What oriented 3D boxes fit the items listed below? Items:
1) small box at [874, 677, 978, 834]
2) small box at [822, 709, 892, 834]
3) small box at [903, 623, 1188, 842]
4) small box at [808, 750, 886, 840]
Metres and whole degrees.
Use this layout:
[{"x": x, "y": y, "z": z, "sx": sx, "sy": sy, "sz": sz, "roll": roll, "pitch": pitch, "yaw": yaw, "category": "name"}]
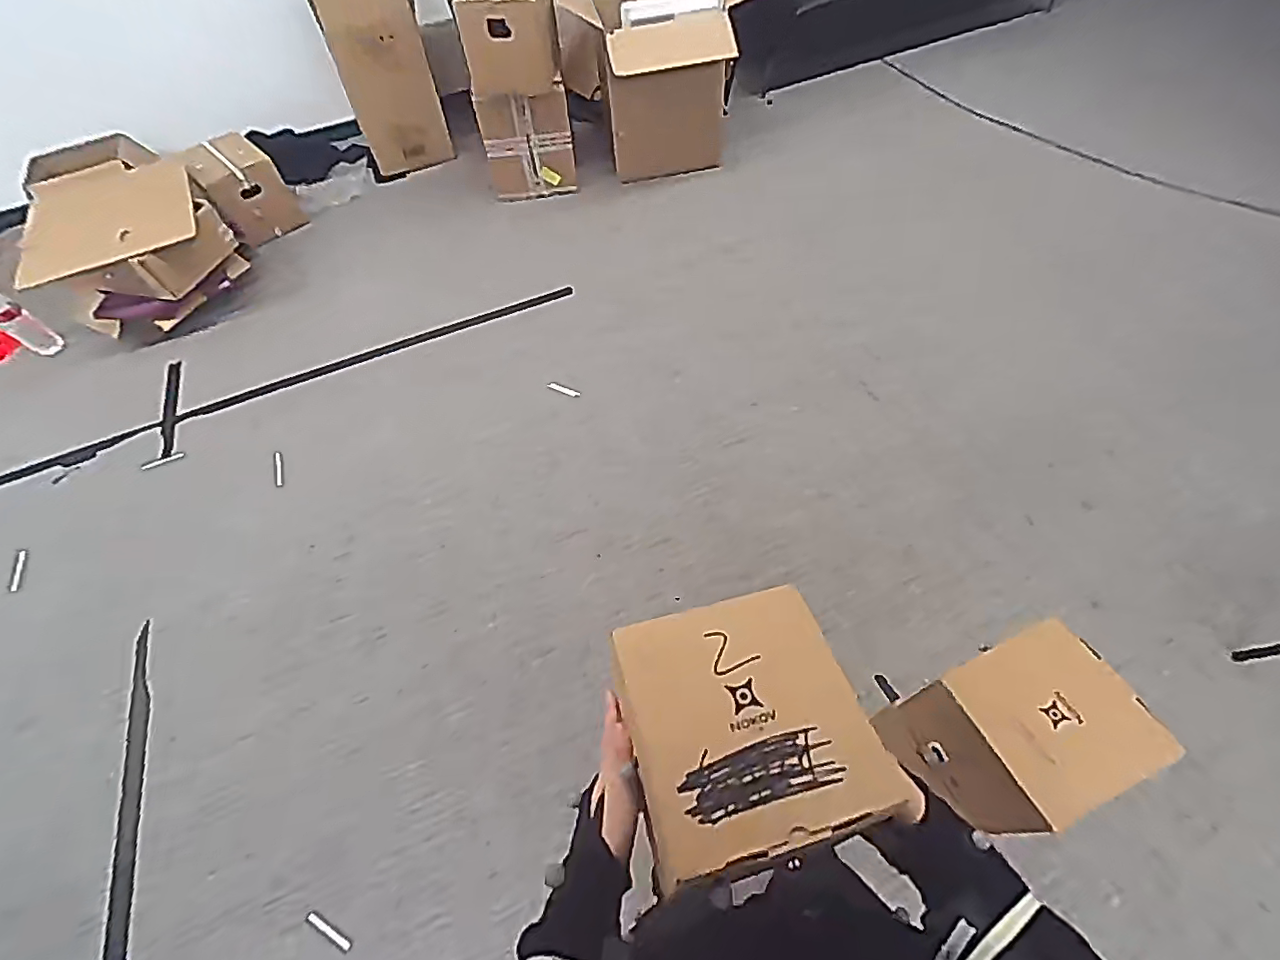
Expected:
[{"x": 0.464, "y": 0.388, "z": 0.780, "sx": 0.179, "sy": 0.176, "sz": 0.168, "roll": -20, "pitch": 57, "yaw": -10, "category": "small box"}, {"x": 0.480, "y": 0.565, "z": 1.055, "sx": 0.168, "sy": 0.176, "sz": 0.179, "roll": -20, "pitch": 57, "yaw": -7, "category": "small box"}, {"x": 0.455, "y": 0.301, "z": 0.644, "sx": 0.179, "sy": 0.176, "sz": 0.168, "roll": -23, "pitch": 57, "yaw": -9, "category": "small box"}, {"x": 0.497, "y": 0.659, "z": 1.189, "sx": 0.168, "sy": 0.176, "sz": 0.179, "roll": -22, "pitch": 58, "yaw": -9, "category": "small box"}]
